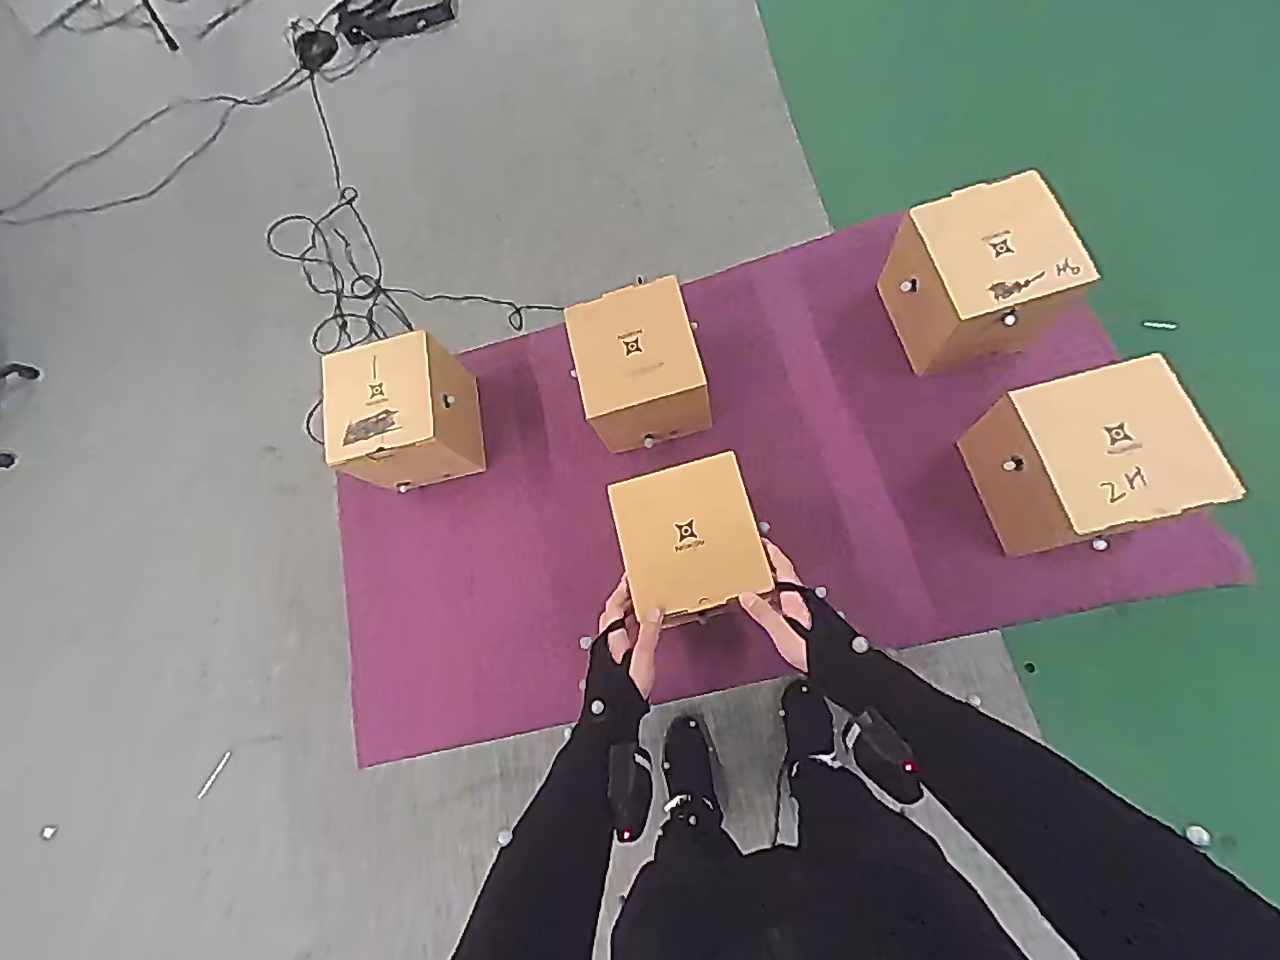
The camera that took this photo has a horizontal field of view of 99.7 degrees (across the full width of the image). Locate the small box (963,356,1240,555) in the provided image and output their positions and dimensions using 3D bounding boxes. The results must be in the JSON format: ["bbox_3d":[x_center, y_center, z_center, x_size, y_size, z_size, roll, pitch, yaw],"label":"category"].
[{"bbox_3d":[0.532,-0.019,0.661,0.168,0.176,0.179,-14,72,8],"label":"small box"}]

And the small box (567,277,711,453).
[{"bbox_3d":[0.004,-0.161,0.803,0.168,0.176,0.179,-15,73,7],"label":"small box"}]

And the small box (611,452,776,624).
[{"bbox_3d":[0.071,0.087,0.721,0.168,0.176,0.179,-16,72,5],"label":"small box"}]

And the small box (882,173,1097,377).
[{"bbox_3d":[0.460,-0.272,0.749,0.168,0.176,0.179,-16,72,7],"label":"small box"}]

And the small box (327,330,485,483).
[{"bbox_3d":[-0.357,-0.101,0.847,0.168,0.176,0.179,-13,74,6],"label":"small box"}]
